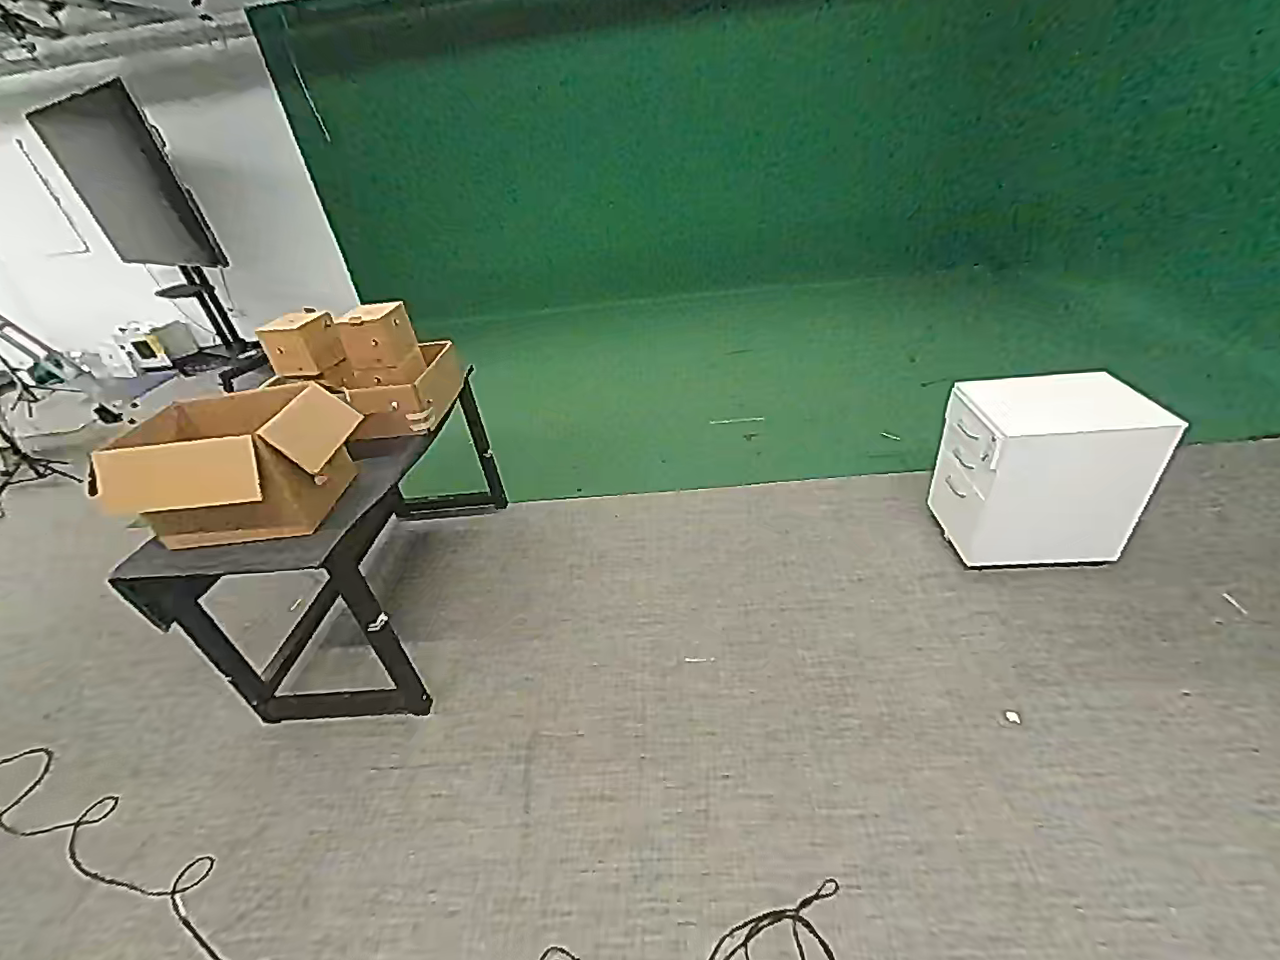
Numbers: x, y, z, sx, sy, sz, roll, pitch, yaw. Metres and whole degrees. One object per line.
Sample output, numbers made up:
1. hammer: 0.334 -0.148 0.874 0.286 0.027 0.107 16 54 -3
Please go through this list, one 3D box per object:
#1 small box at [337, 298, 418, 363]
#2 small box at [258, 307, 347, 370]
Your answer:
1. small box: -0.889 -0.508 1.854 0.168 0.176 0.179 -2 35 7
2. small box: -1.158 -0.488 1.875 0.168 0.176 0.179 1 35 10
